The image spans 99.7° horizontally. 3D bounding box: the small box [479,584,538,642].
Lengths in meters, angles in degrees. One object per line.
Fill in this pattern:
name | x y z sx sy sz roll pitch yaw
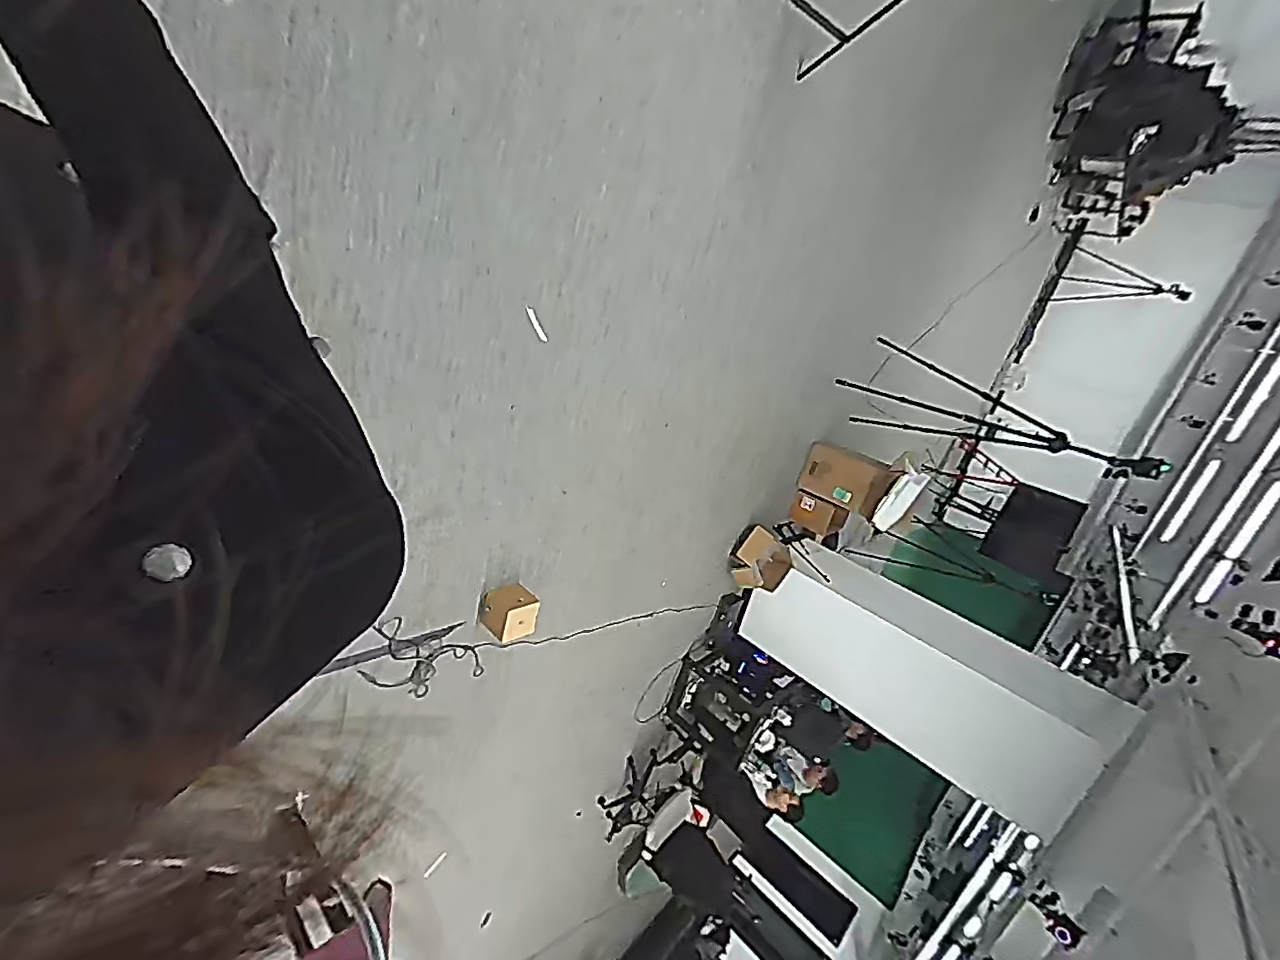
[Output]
small box | -0.584 0.581 2.392 0.179 0.176 0.168 -6 117 -50
